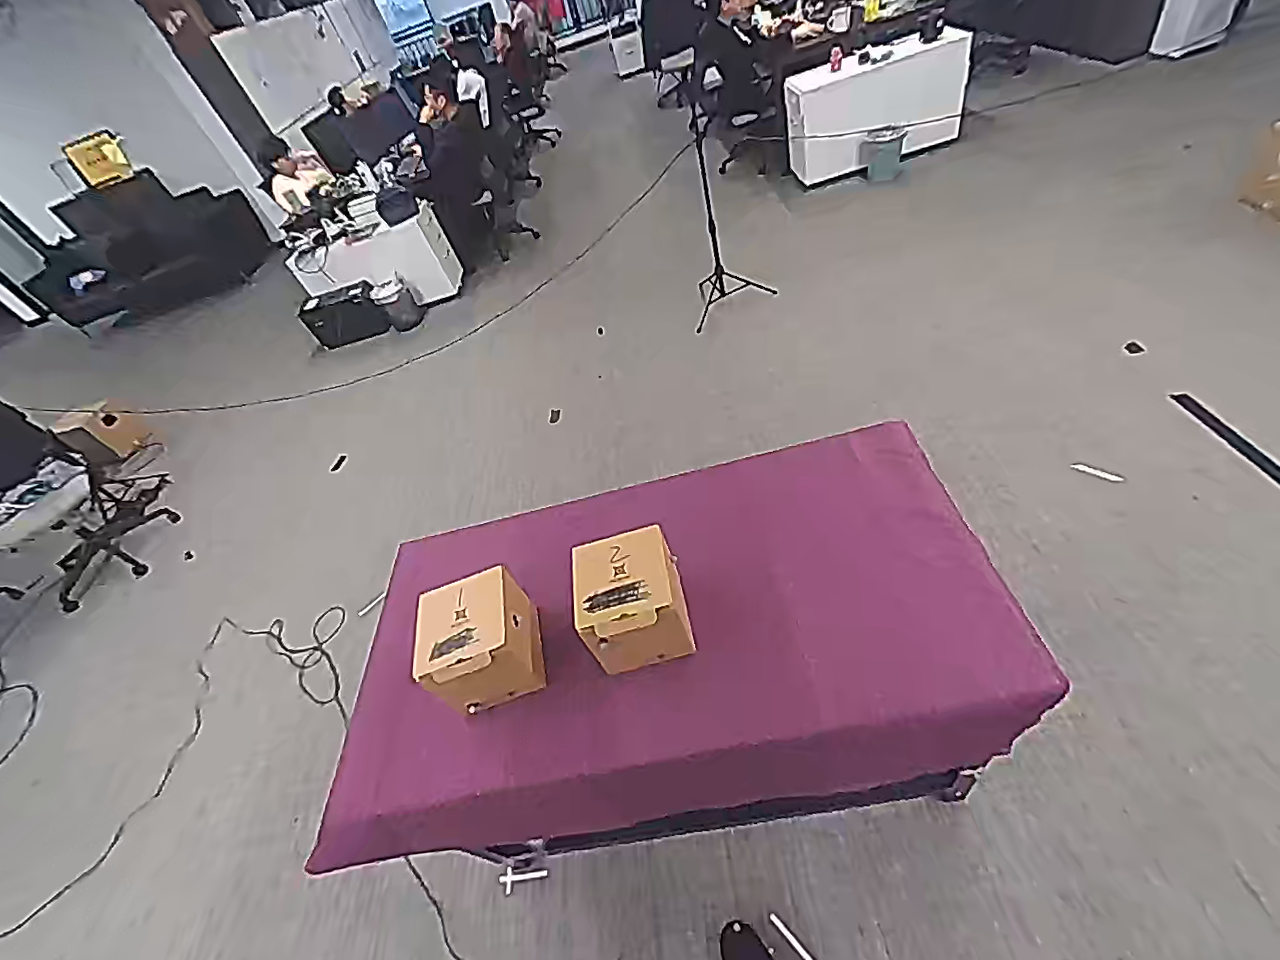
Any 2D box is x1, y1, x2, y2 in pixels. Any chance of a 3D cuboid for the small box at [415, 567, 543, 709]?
[{"bbox_3d":[-0.287,0.296,0.991,0.168,0.176,0.179,-21,44,1],"label":"small box"}]
